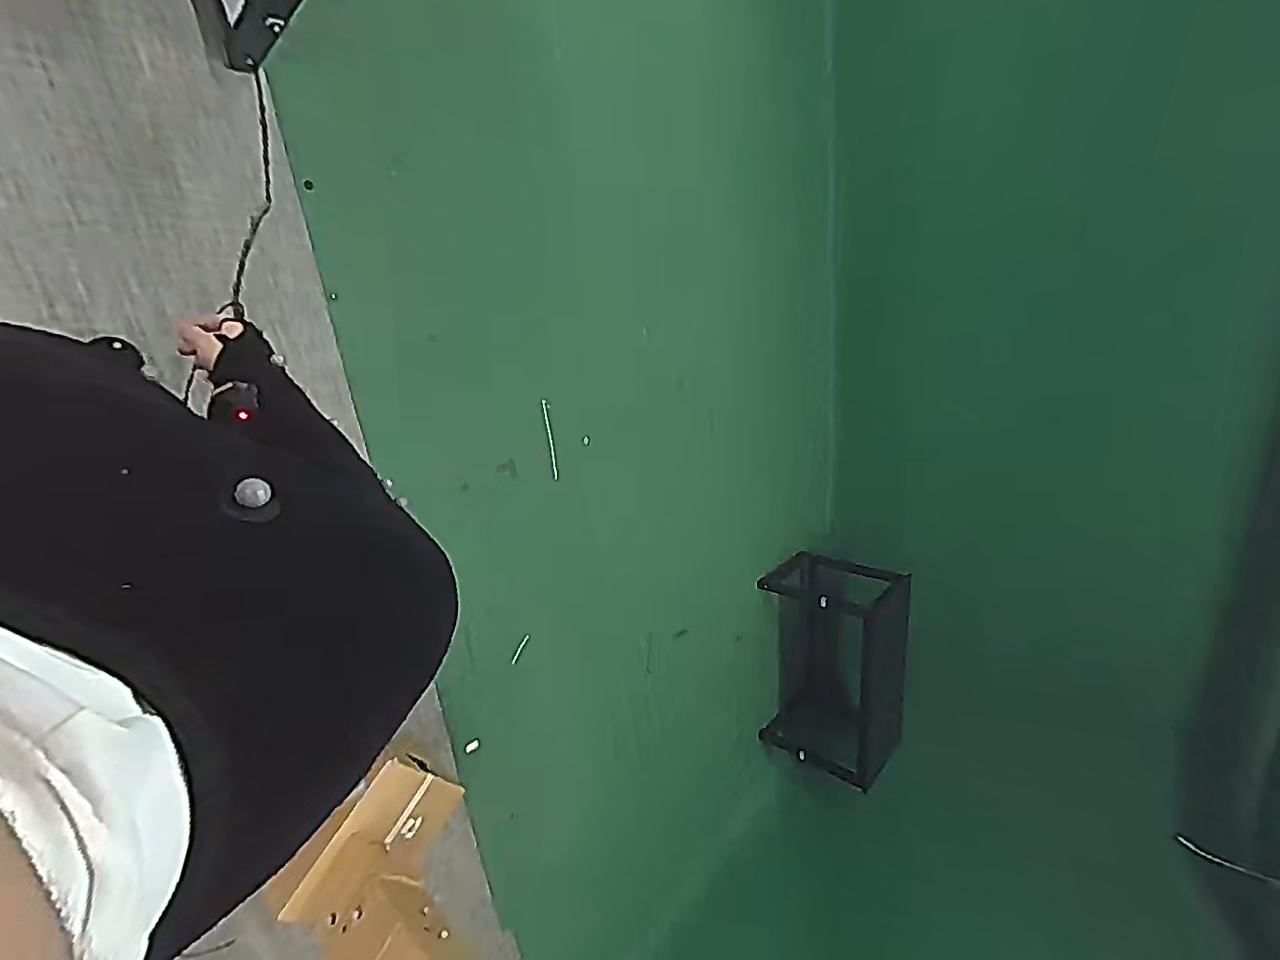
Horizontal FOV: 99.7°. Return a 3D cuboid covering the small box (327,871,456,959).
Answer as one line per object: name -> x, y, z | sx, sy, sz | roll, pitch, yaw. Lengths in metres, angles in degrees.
small box -> -0.571, 1.044, 1.244 | 0.168, 0.176, 0.179 | -57, 132, -24

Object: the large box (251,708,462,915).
large box -> -0.814, 0.958, 1.572 | 0.408, 0.320, 0.320 | -58, 135, -24

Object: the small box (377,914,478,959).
small box -> -0.455, 1.064, 1.130 | 0.168, 0.176, 0.179 | 52, 58, -39

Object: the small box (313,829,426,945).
small box -> -0.685, 1.027, 1.359 | 0.179, 0.176, 0.168 | -58, 133, -23
